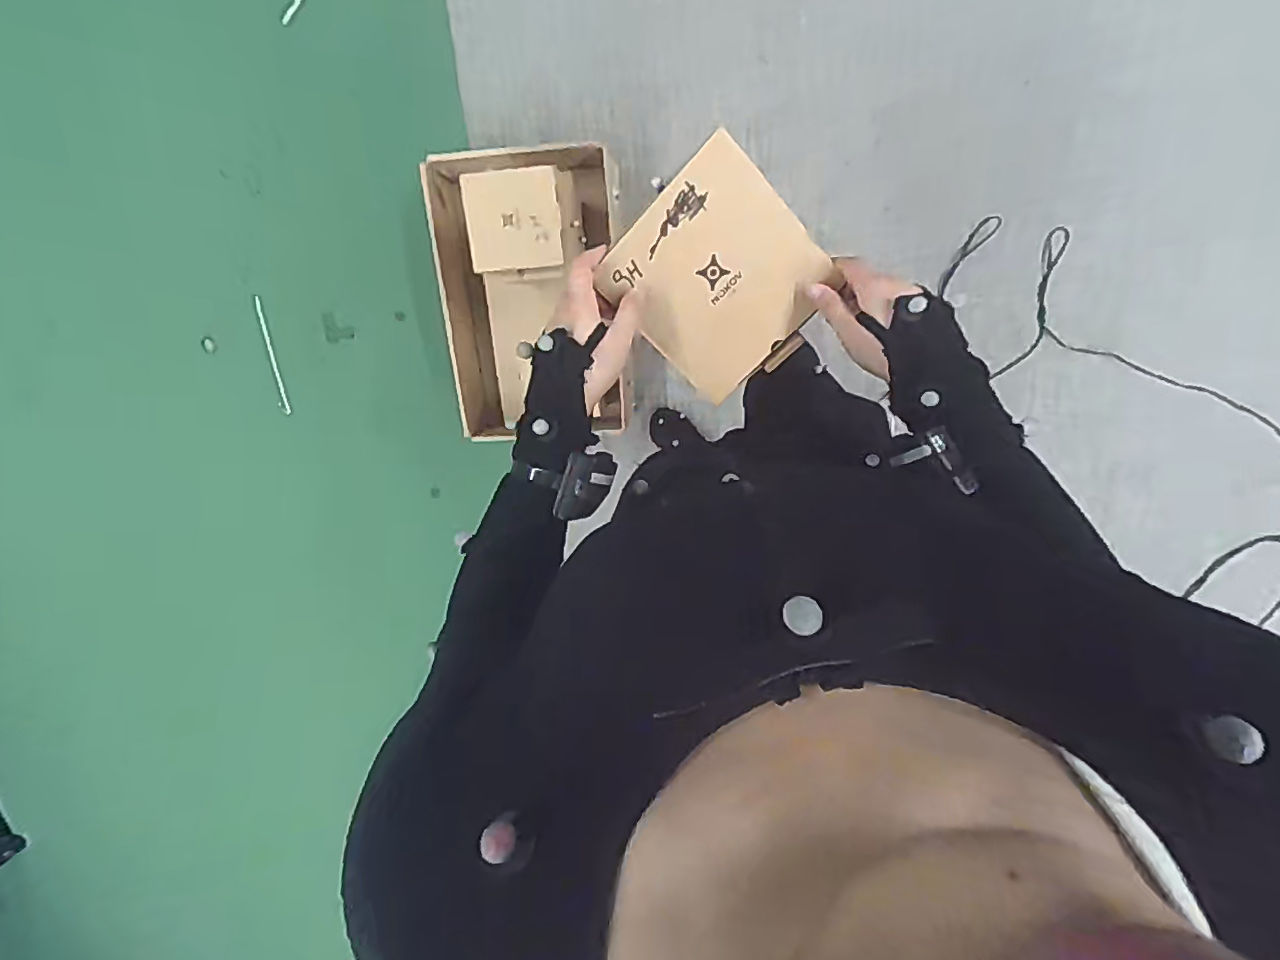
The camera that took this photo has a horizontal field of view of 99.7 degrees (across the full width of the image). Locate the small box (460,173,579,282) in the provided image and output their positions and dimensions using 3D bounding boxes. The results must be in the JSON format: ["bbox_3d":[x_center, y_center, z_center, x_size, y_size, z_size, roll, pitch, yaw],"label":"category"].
[{"bbox_3d":[-0.224,-0.478,1.048,0.179,0.176,0.168,-3,108,4],"label":"small box"}]

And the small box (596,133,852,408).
[{"bbox_3d":[0.073,-0.209,0.553,0.168,0.176,0.179,-43,110,14],"label":"small box"}]
